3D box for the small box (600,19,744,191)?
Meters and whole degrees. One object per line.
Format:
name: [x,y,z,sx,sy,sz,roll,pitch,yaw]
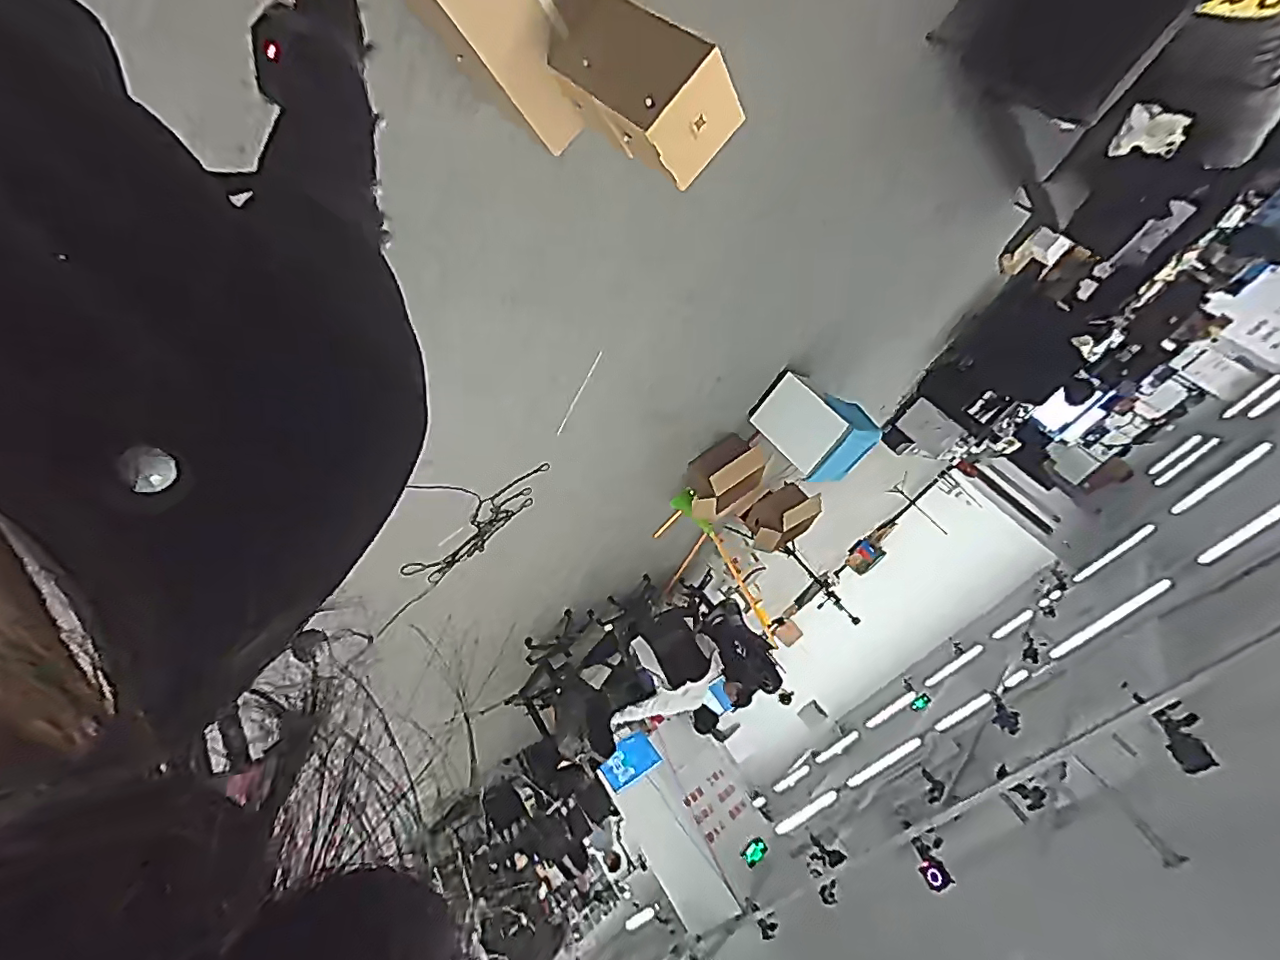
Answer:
small box: [0.059,-0.697,1.009,0.179,0.176,0.168,-46,154,13]
